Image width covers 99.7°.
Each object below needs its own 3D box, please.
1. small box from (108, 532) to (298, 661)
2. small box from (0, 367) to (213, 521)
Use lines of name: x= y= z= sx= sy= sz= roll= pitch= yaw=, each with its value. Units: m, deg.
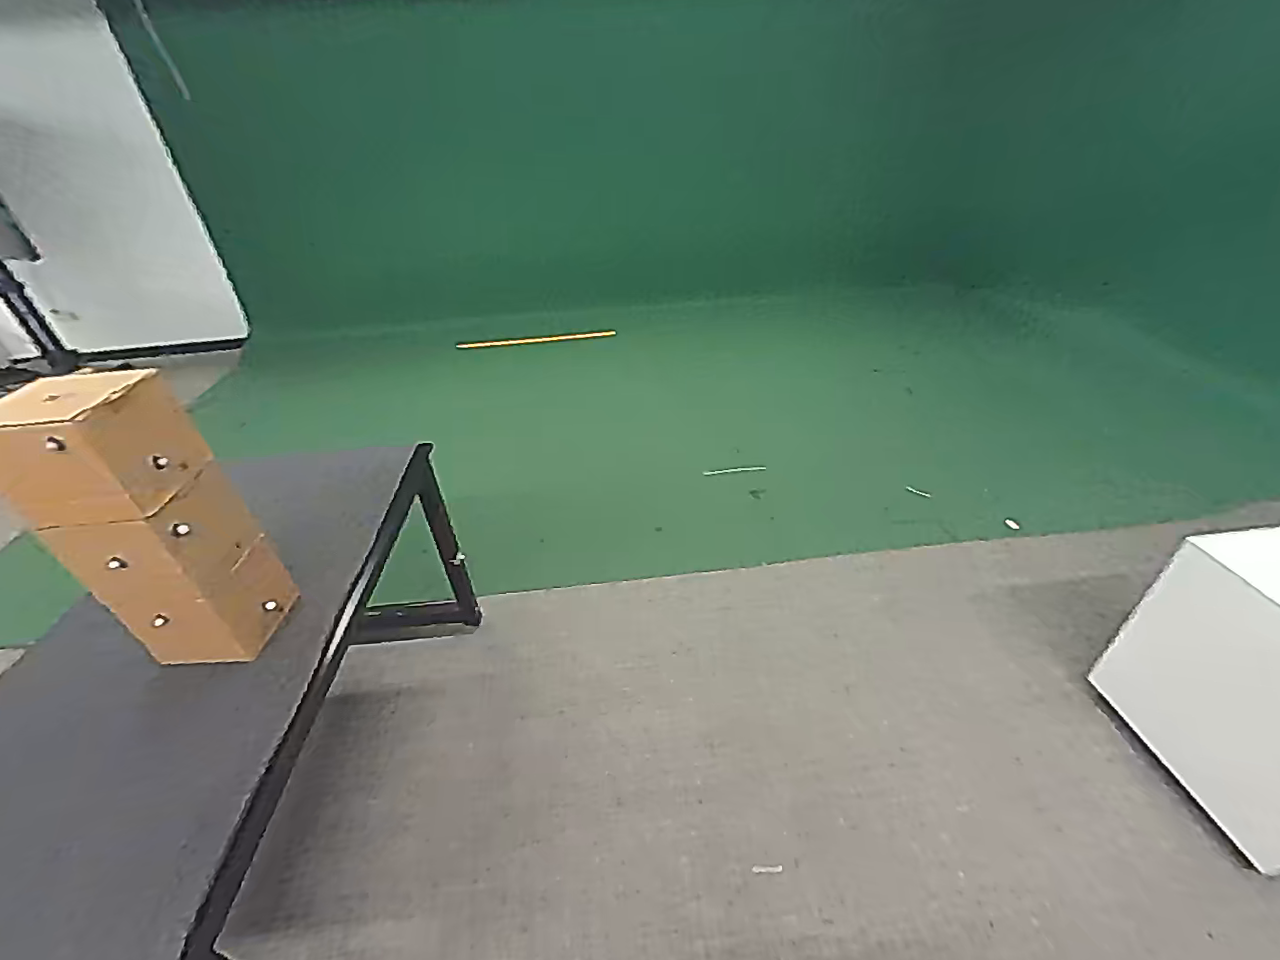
small box: x=-0.780 y=0.214 z=0.989 sx=0.179 sy=0.176 sz=0.168 roll=-2 pitch=35 yaw=3
small box: x=-0.803 y=-0.053 z=0.803 sx=0.179 sy=0.176 sz=0.168 roll=-5 pitch=34 yaw=-1
